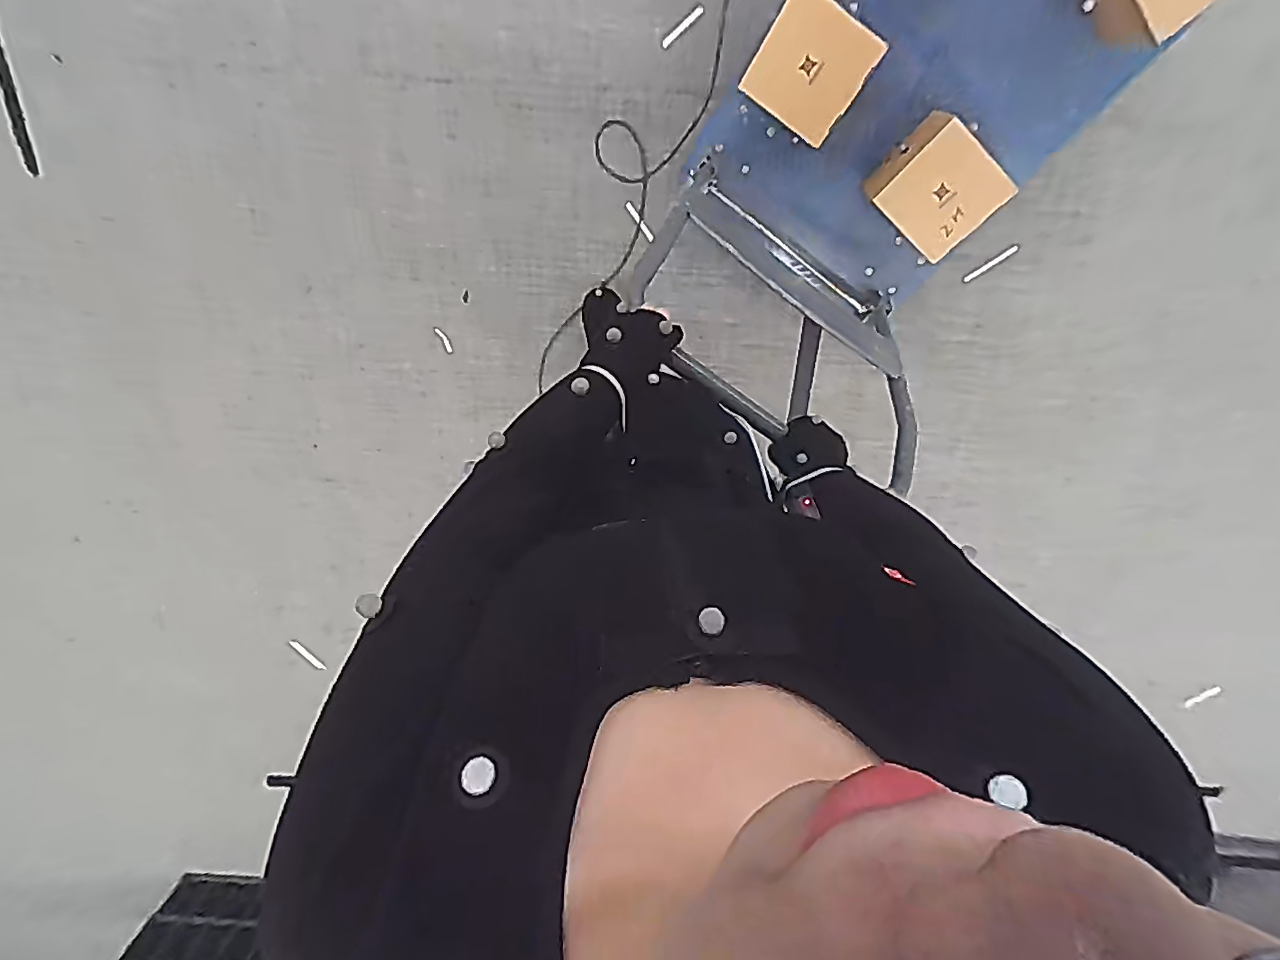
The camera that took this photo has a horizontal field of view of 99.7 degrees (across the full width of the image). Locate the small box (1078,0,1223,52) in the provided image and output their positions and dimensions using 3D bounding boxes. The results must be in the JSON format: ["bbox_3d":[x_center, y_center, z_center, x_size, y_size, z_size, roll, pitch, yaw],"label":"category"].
[{"bbox_3d":[0.777,-0.773,0.786,0.168,0.176,0.179,43,126,-18],"label":"small box"}]

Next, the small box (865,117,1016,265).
[{"bbox_3d":[0.549,-0.545,1.016,0.179,0.176,0.168,38,127,-14],"label":"small box"}]

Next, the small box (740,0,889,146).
[{"bbox_3d":[0.295,-0.722,0.947,0.179,0.176,0.168,30,127,-11],"label":"small box"}]
